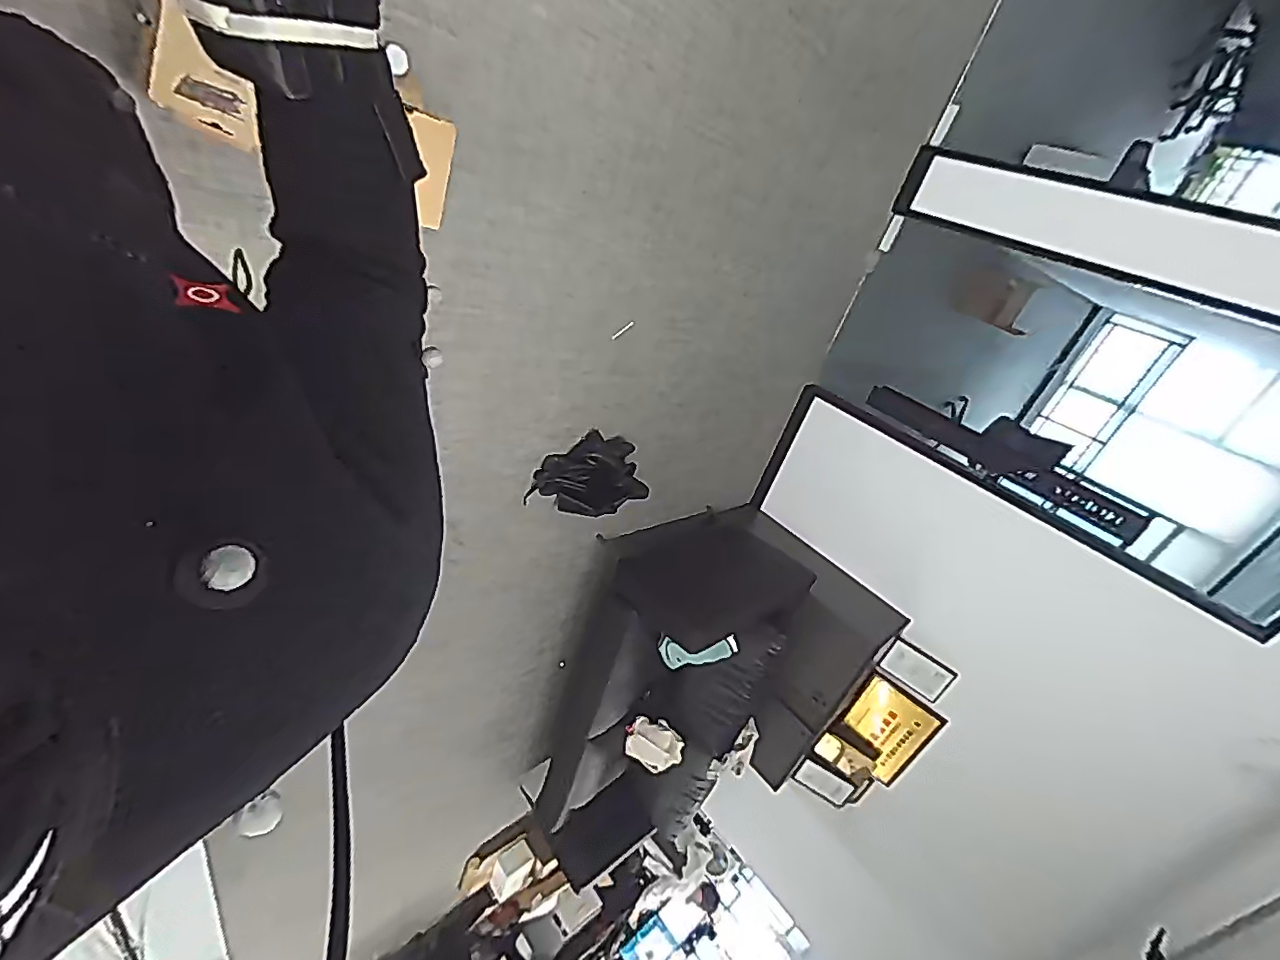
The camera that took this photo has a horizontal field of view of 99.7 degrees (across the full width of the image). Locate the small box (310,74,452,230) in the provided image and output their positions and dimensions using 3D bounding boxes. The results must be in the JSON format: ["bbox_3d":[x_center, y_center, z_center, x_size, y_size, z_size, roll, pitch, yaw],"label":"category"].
[{"bbox_3d":[-0.457,-0.568,0.943,0.168,0.176,0.179,-7,128,-46],"label":"small box"}]

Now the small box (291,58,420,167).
[{"bbox_3d":[-0.548,-0.669,1.033,0.168,0.176,0.179,-7,127,-47],"label":"small box"}]
